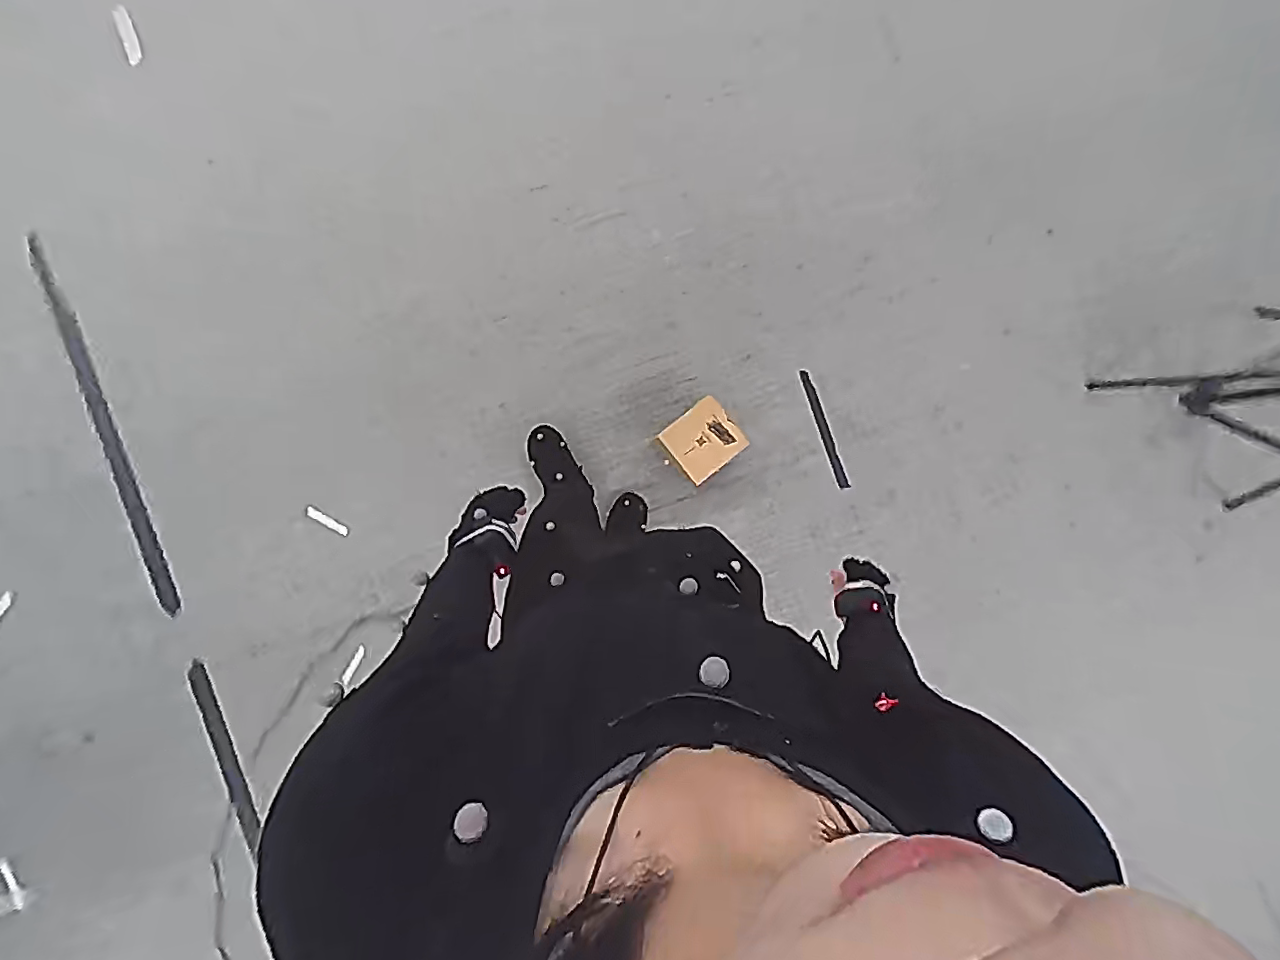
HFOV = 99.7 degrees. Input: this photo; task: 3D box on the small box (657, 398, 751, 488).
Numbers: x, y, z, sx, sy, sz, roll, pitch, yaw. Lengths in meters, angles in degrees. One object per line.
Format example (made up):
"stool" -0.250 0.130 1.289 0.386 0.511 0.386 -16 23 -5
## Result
"small box" 0.161 -0.096 1.441 0.179 0.176 0.168 -38 93 -2
